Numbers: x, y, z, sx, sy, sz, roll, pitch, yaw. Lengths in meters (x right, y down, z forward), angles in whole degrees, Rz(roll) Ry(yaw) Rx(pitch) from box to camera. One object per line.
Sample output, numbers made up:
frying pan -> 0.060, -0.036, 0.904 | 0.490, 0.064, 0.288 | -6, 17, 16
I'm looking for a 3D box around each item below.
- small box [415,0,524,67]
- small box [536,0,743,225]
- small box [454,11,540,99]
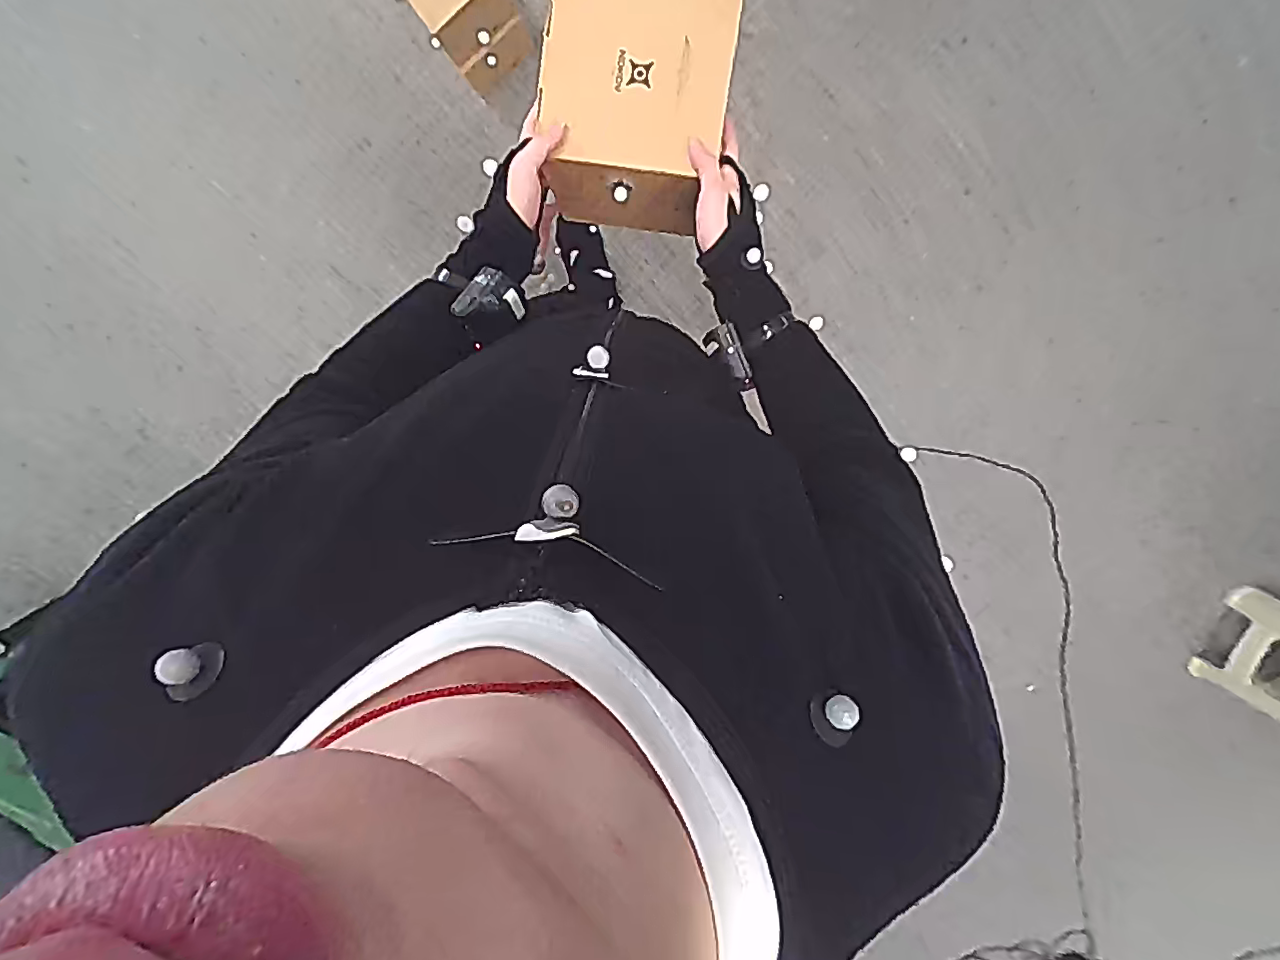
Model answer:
small box -> -0.340, -0.924, 1.000 | 0.168, 0.176, 0.179 | -34, 107, 11
small box -> 0.003, -0.389, 0.572 | 0.179, 0.176, 0.168 | 7, 96, 2
small box -> -0.338, -0.972, 1.158 | 0.168, 0.176, 0.179 | -36, 106, 11
